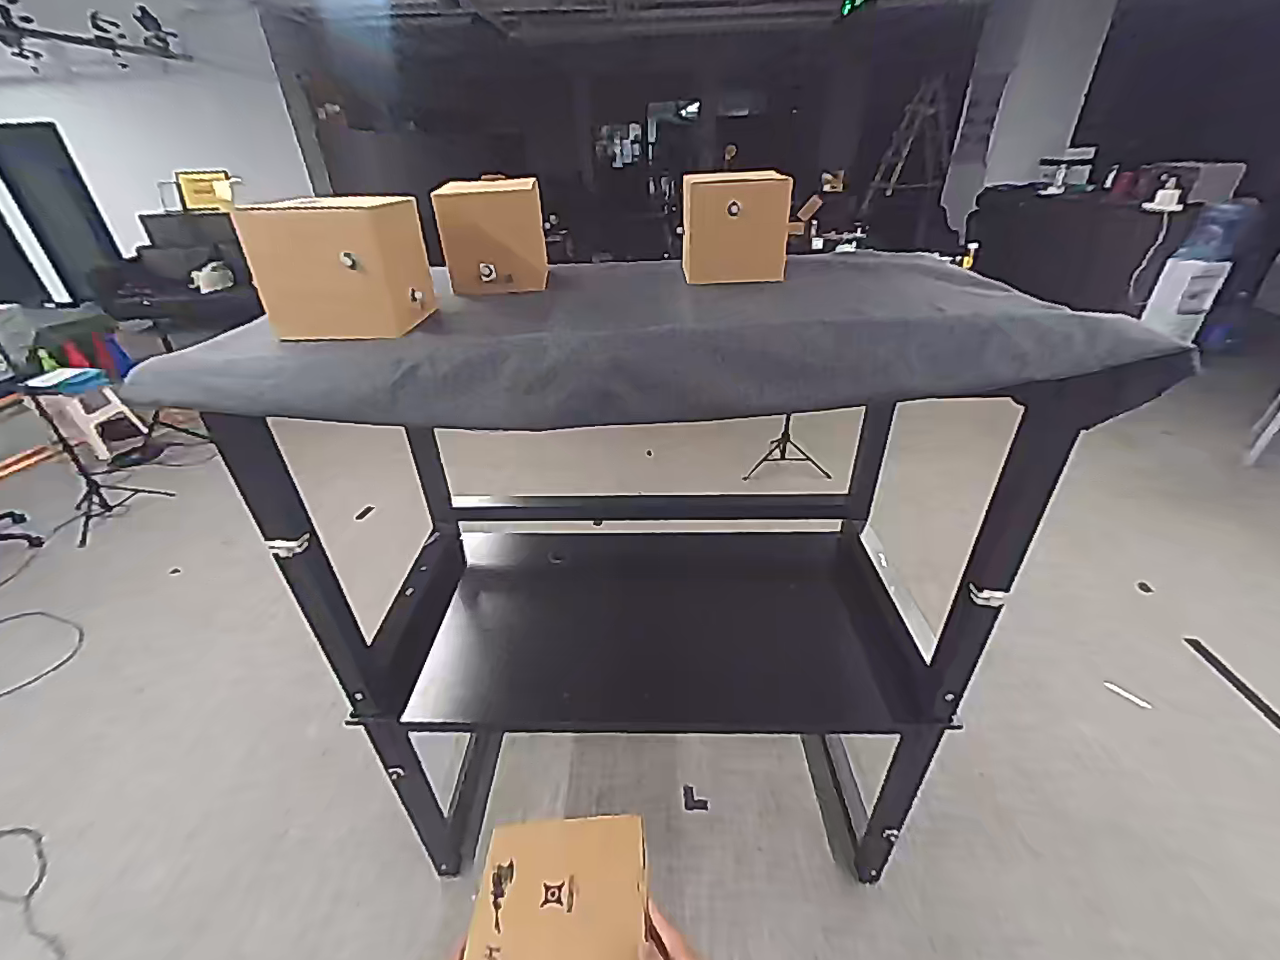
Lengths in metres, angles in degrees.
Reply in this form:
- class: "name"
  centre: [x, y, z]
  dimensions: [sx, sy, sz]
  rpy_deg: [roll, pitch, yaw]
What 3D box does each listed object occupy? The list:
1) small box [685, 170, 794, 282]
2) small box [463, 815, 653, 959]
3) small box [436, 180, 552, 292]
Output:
- class: "small box"
  centre: [0.175, -0.472, 1.005]
  dimensions: [0.179, 0.176, 0.168]
  rpy_deg: [-1, 33, 2]
- class: "small box"
  centre: [-0.074, 0.494, 0.577]
  dimensions: [0.179, 0.176, 0.168]
  rpy_deg: [-3, 19, 1]
- class: "small box"
  centre: [-0.258, -0.453, 1.001]
  dimensions: [0.168, 0.176, 0.179]
  rpy_deg: [-5, 33, -3]
